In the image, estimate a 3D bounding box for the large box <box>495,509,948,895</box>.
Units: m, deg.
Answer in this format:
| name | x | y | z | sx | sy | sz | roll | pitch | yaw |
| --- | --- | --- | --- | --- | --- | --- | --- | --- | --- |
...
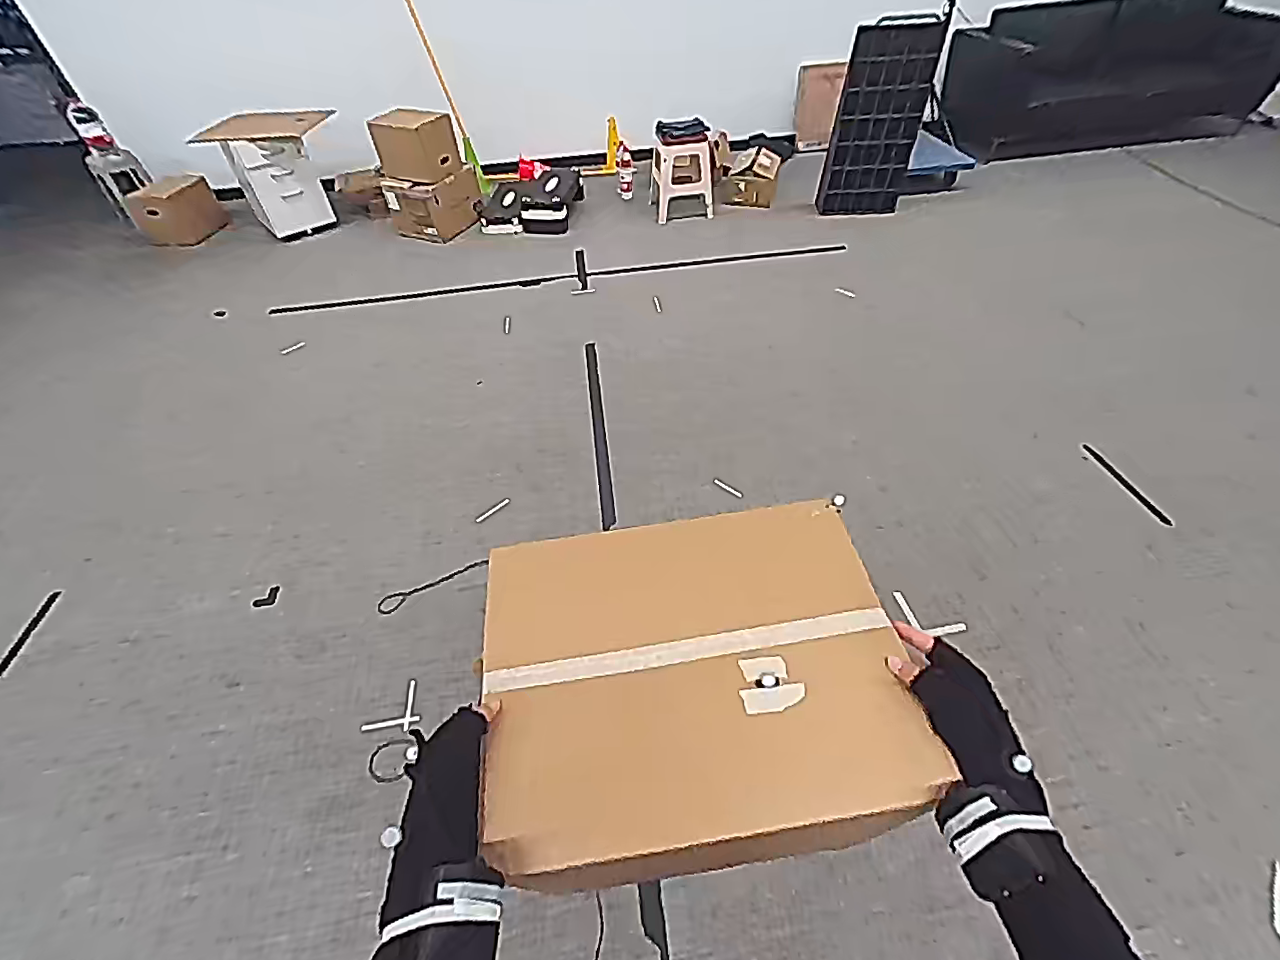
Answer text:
| name | x | y | z | sx | sy | sz | roll | pitch | yaw |
| --- | --- | --- | --- | --- | --- | --- | --- | --- | --- |
| large box | 0.059 | 0.275 | 0.664 | 0.408 | 0.320 | 0.320 | -8 | 51 | -3 |
